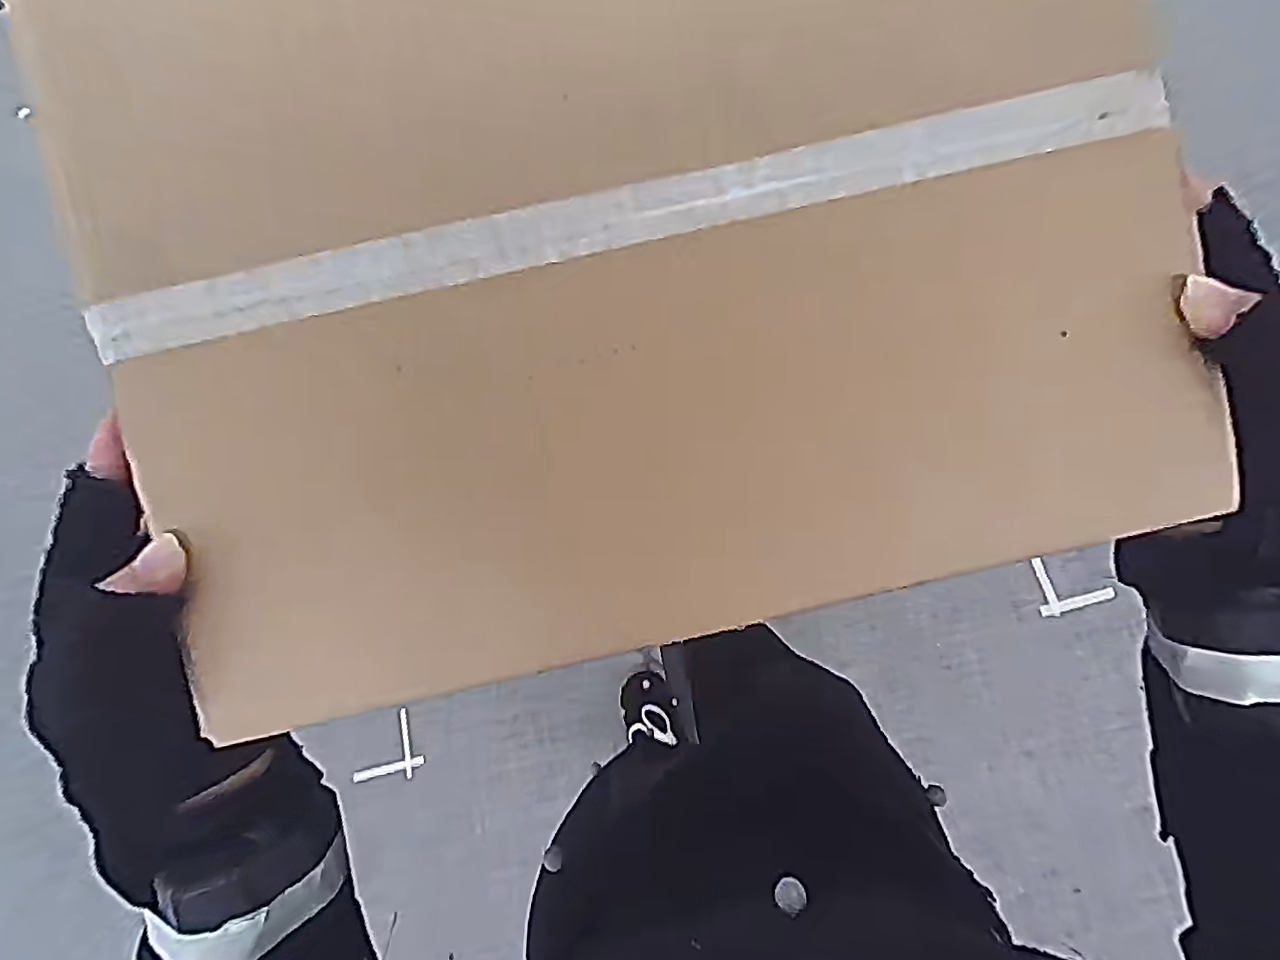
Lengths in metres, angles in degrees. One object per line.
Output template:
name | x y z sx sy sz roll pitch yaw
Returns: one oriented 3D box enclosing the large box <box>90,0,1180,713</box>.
large box | -0.002 -0.098 0.372 0.408 0.320 0.320 -13 92 -1
